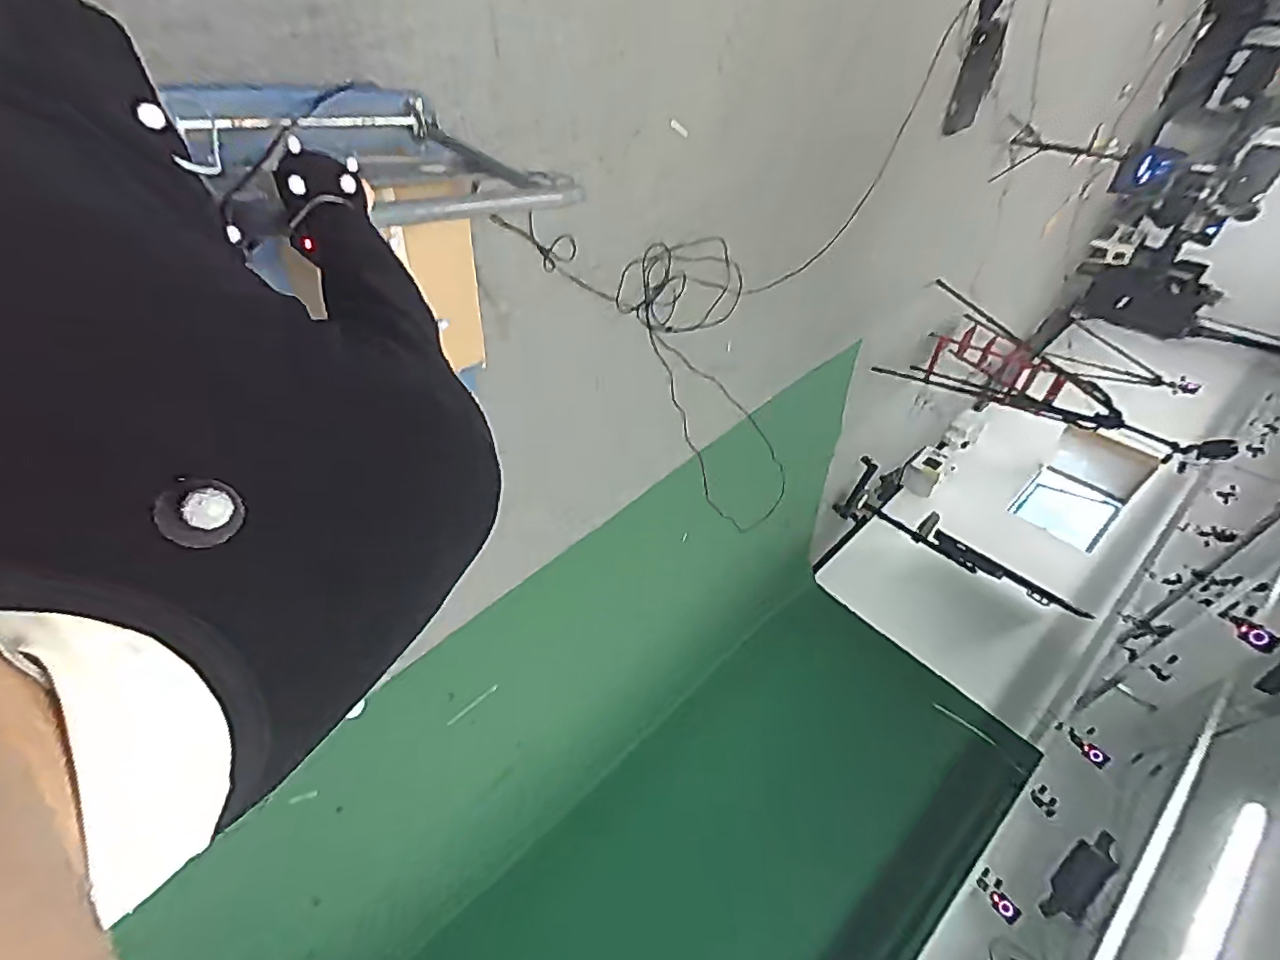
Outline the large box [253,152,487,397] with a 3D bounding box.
[{"bbox_3d":[-0.575,-0.464,1.201,0.320,0.320,0.408,-27,139,-33],"label":"large box"}]
